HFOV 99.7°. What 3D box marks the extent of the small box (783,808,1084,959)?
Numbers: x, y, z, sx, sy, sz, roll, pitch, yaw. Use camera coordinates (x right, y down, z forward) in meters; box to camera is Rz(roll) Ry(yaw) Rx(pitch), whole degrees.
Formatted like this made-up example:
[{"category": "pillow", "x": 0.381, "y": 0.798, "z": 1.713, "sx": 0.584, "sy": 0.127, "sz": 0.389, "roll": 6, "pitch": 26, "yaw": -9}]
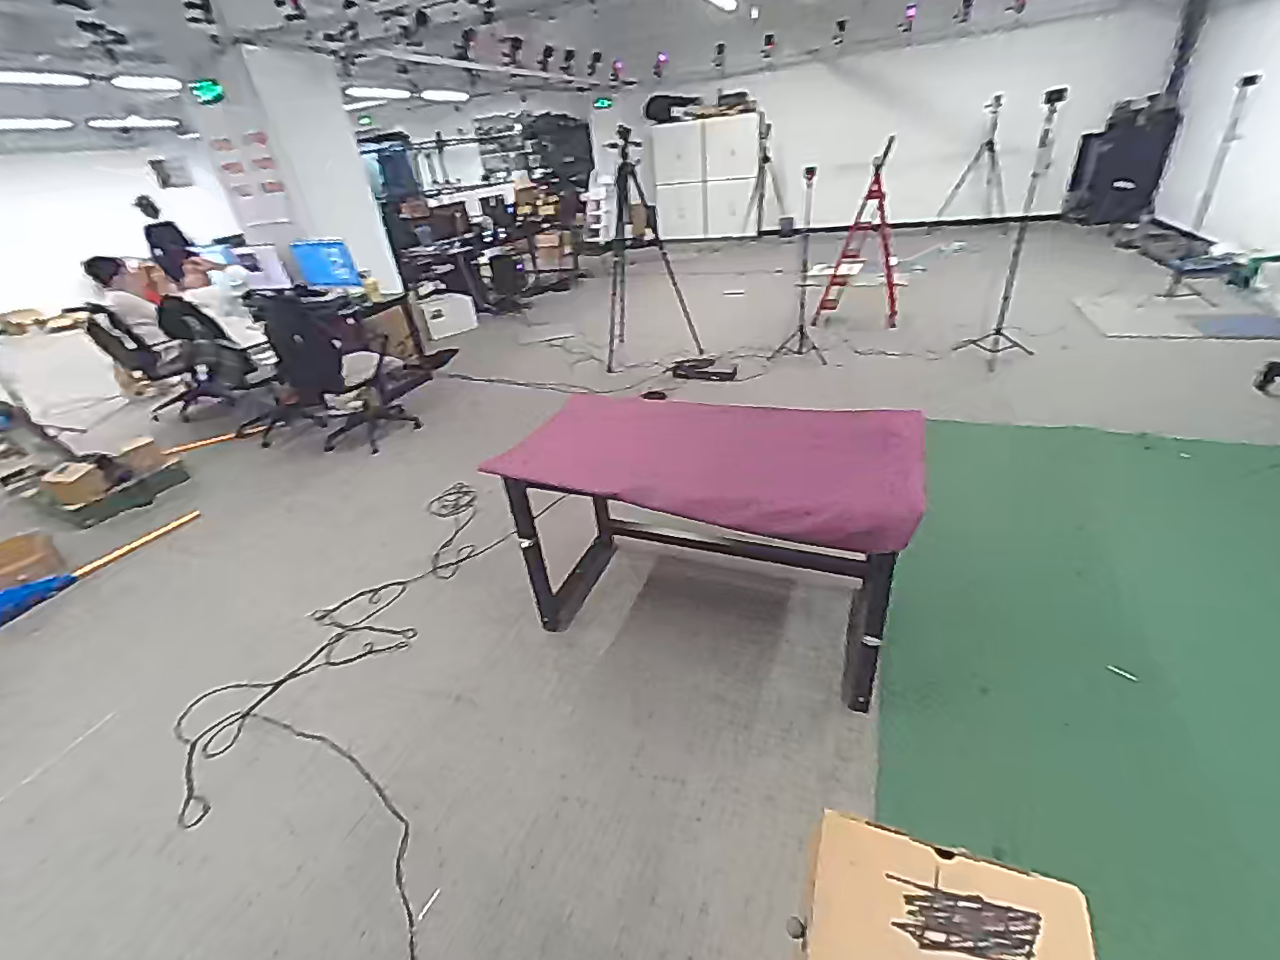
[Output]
[{"category": "small box", "x": 0.188, "y": 0.368, "z": 0.380, "sx": 0.168, "sy": 0.176, "sz": 0.179, "roll": 7, "pitch": 51, "yaw": 19}]
